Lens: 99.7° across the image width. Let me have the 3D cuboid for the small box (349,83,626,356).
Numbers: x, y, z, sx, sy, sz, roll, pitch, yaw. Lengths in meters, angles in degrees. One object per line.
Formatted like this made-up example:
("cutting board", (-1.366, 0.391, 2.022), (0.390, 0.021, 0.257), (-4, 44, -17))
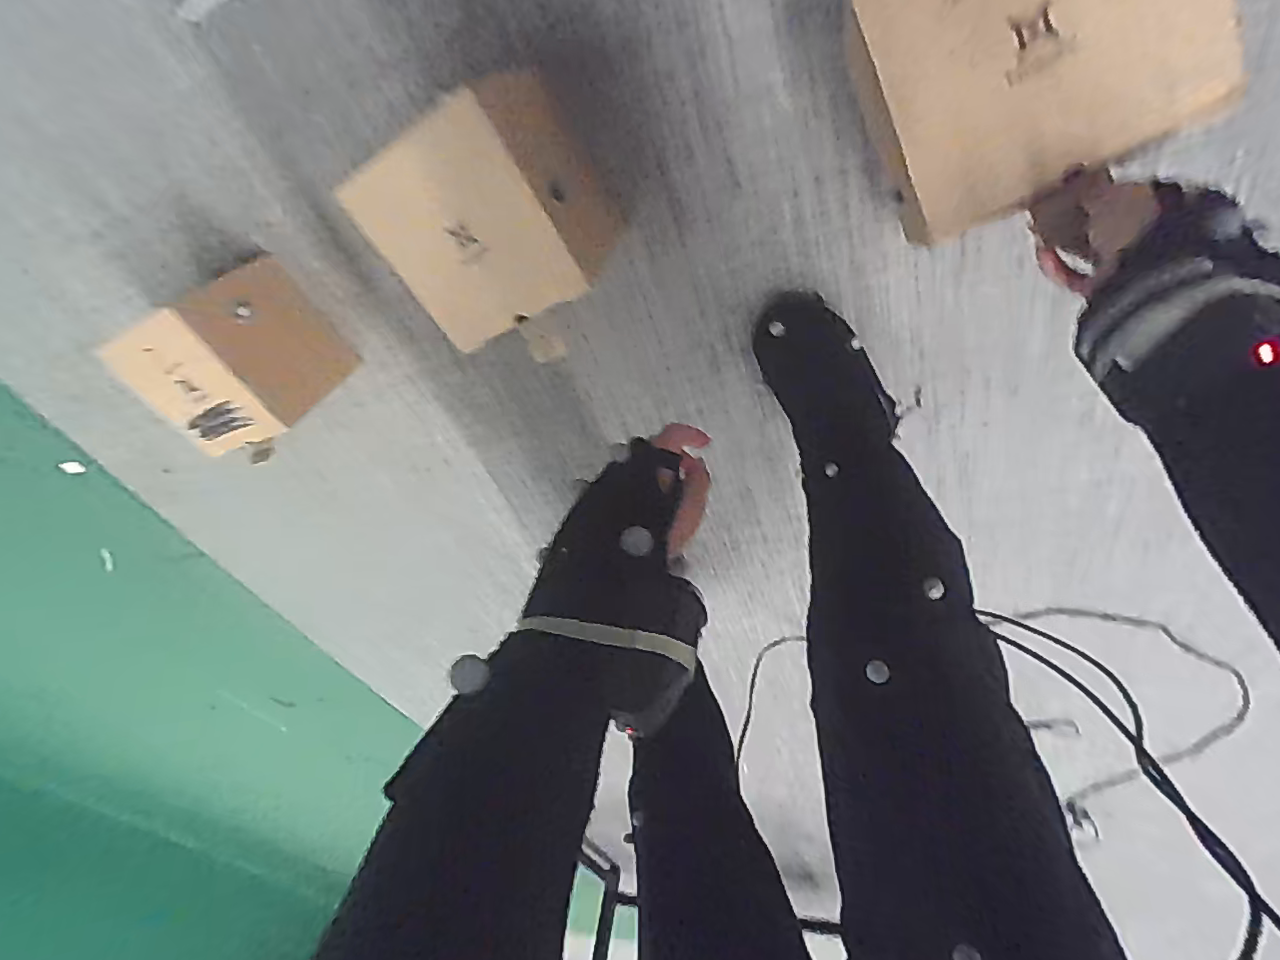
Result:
("small box", (-0.134, -0.262, 0.542), (0.168, 0.176, 0.179), (-17, 126, 26))

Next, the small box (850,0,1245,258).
("small box", (0.266, -0.283, 0.394), (0.168, 0.176, 0.179), (-20, 101, 26))
